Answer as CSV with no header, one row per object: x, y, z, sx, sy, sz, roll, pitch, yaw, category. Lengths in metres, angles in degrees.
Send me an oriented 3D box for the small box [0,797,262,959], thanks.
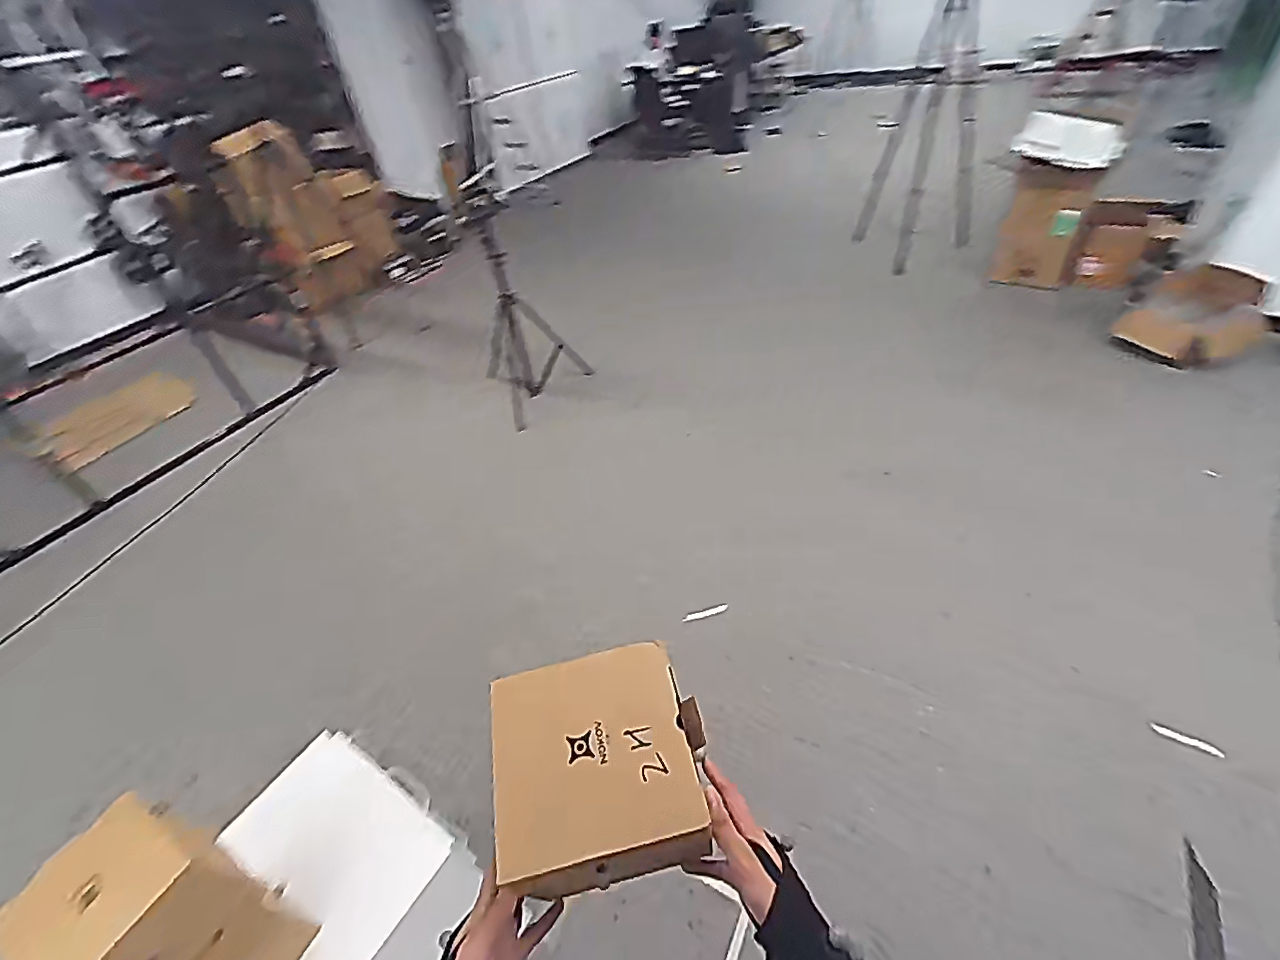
-0.646,0.556,0.698,0.179,0.176,0.168,15,47,25,small box

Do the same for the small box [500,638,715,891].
-0.029,0.287,0.540,0.179,0.176,0.168,-12,48,-3,small box

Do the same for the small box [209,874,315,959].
-0.626,0.694,0.785,0.168,0.176,0.179,13,46,23,small box
